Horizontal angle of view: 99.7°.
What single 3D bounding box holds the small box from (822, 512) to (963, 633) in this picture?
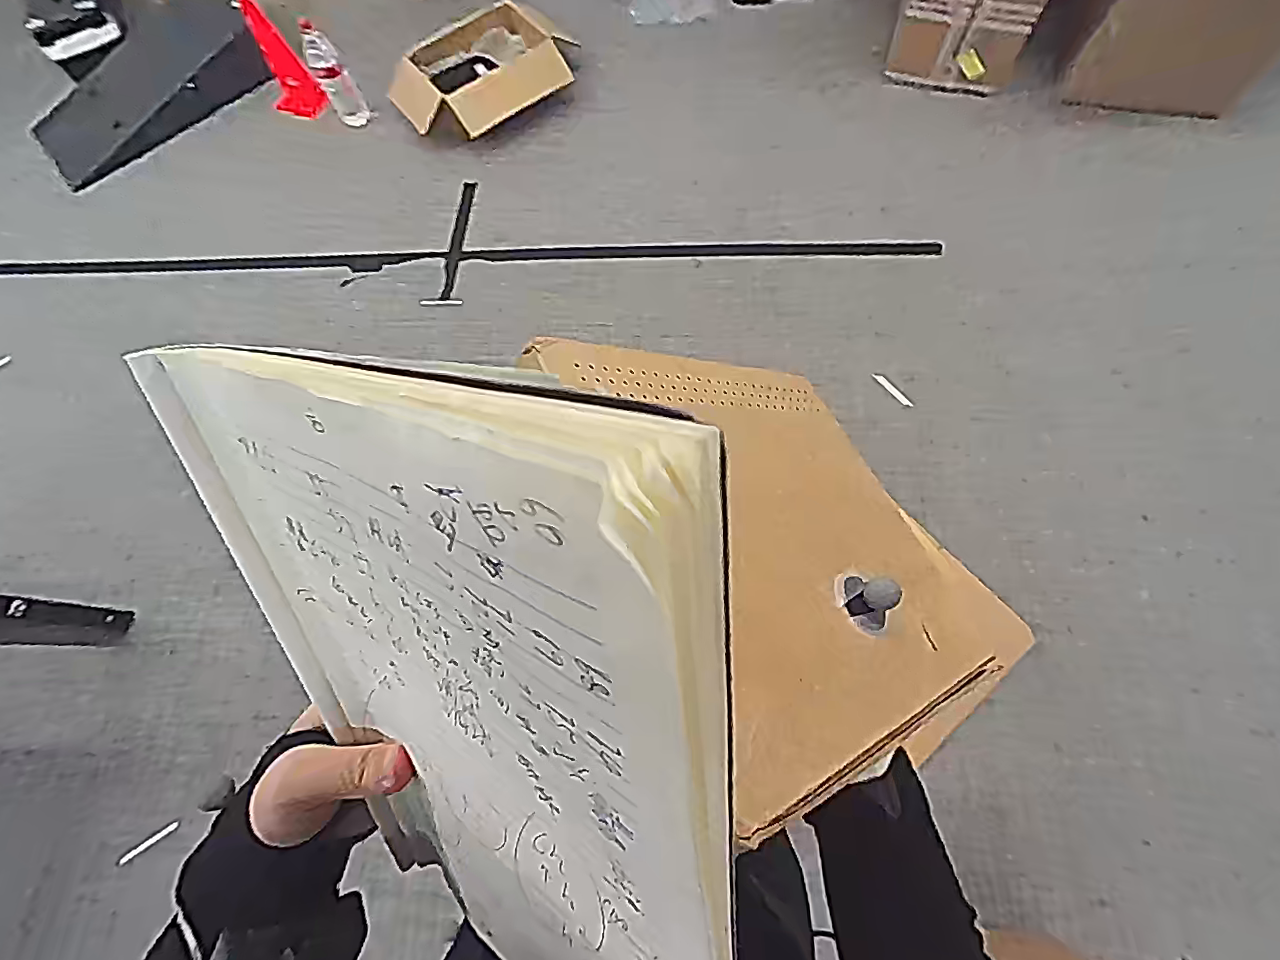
[{"bbox_3d":[0.509,0.198,1.122,0.168,0.176,0.179,-33,73,-9],"label":"small box"}]
